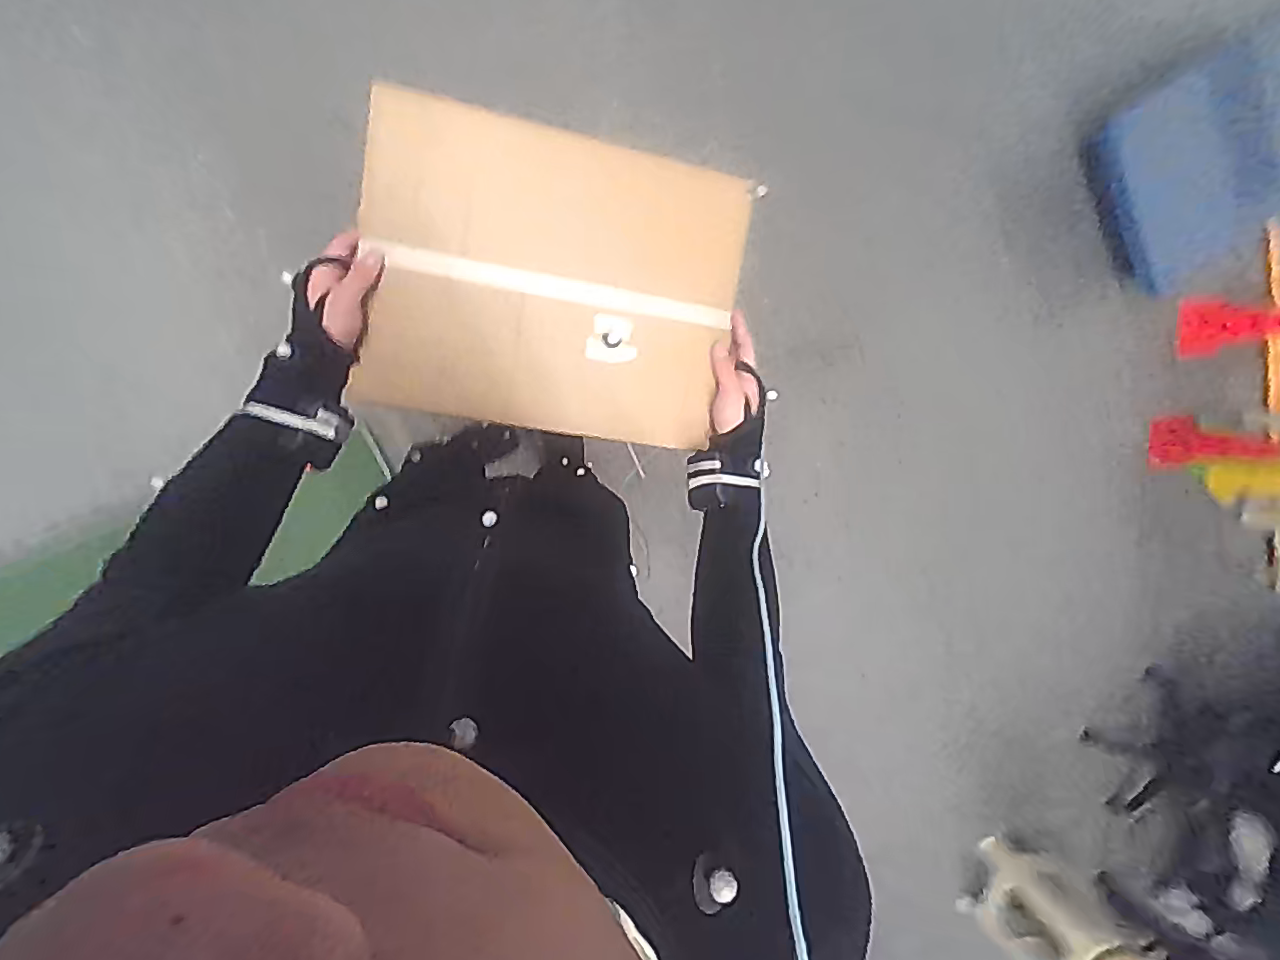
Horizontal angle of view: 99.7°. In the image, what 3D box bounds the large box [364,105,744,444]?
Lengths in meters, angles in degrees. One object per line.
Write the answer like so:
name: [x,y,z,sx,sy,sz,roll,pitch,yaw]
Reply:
large box: [-0.121,-0.237,0.749,0.408,0.320,0.320,6,99,-13]
